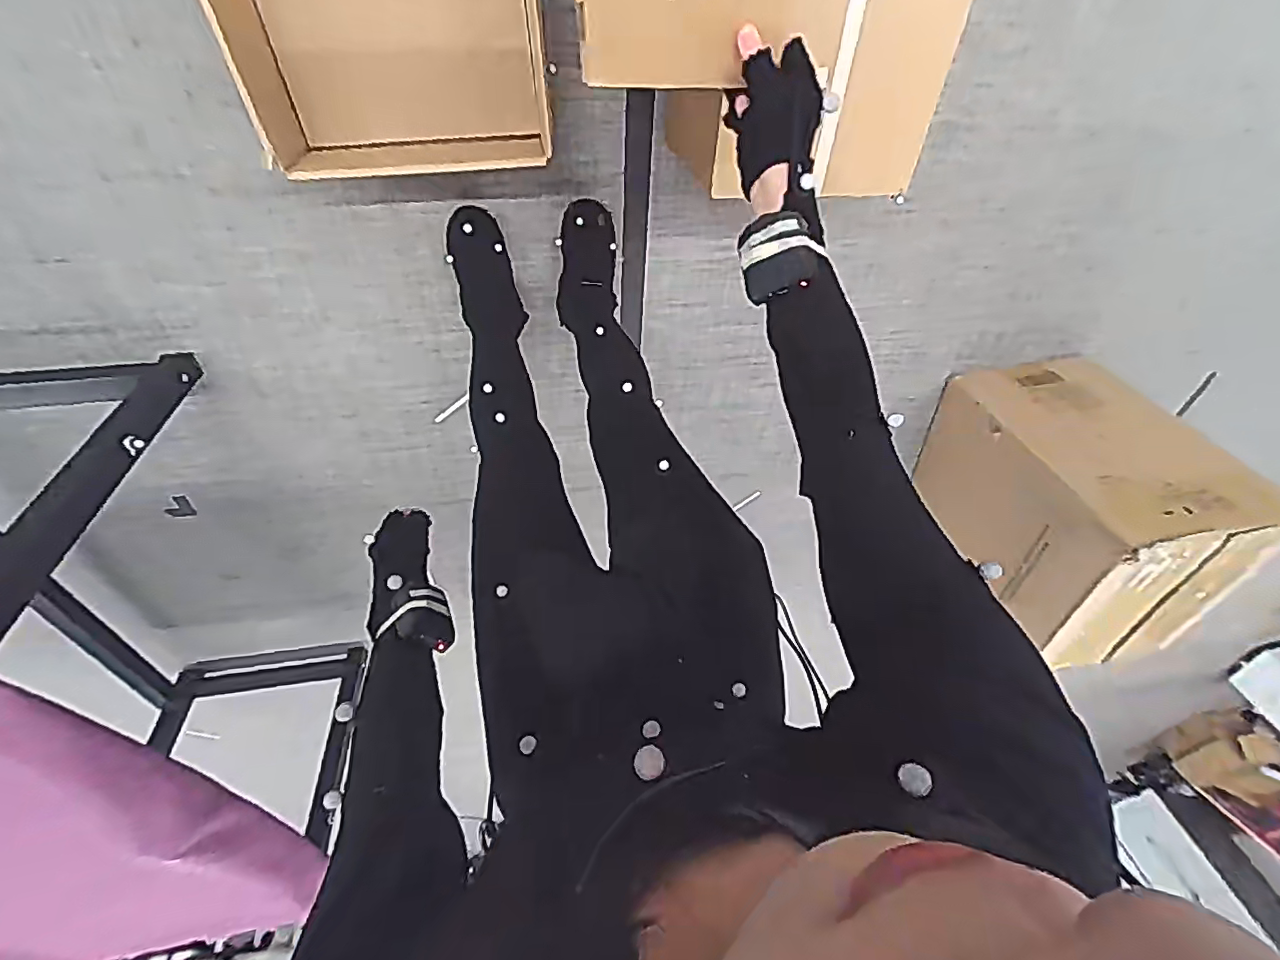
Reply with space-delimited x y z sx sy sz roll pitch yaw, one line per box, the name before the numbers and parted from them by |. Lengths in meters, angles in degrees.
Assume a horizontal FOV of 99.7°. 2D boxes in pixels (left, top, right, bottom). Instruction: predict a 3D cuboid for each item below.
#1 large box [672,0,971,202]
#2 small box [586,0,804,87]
large box | 0.236 -0.665 0.773 0.320 0.320 0.408 -5 134 -8
small box | 0.042 -0.464 0.449 0.179 0.176 0.168 -2 152 -5
